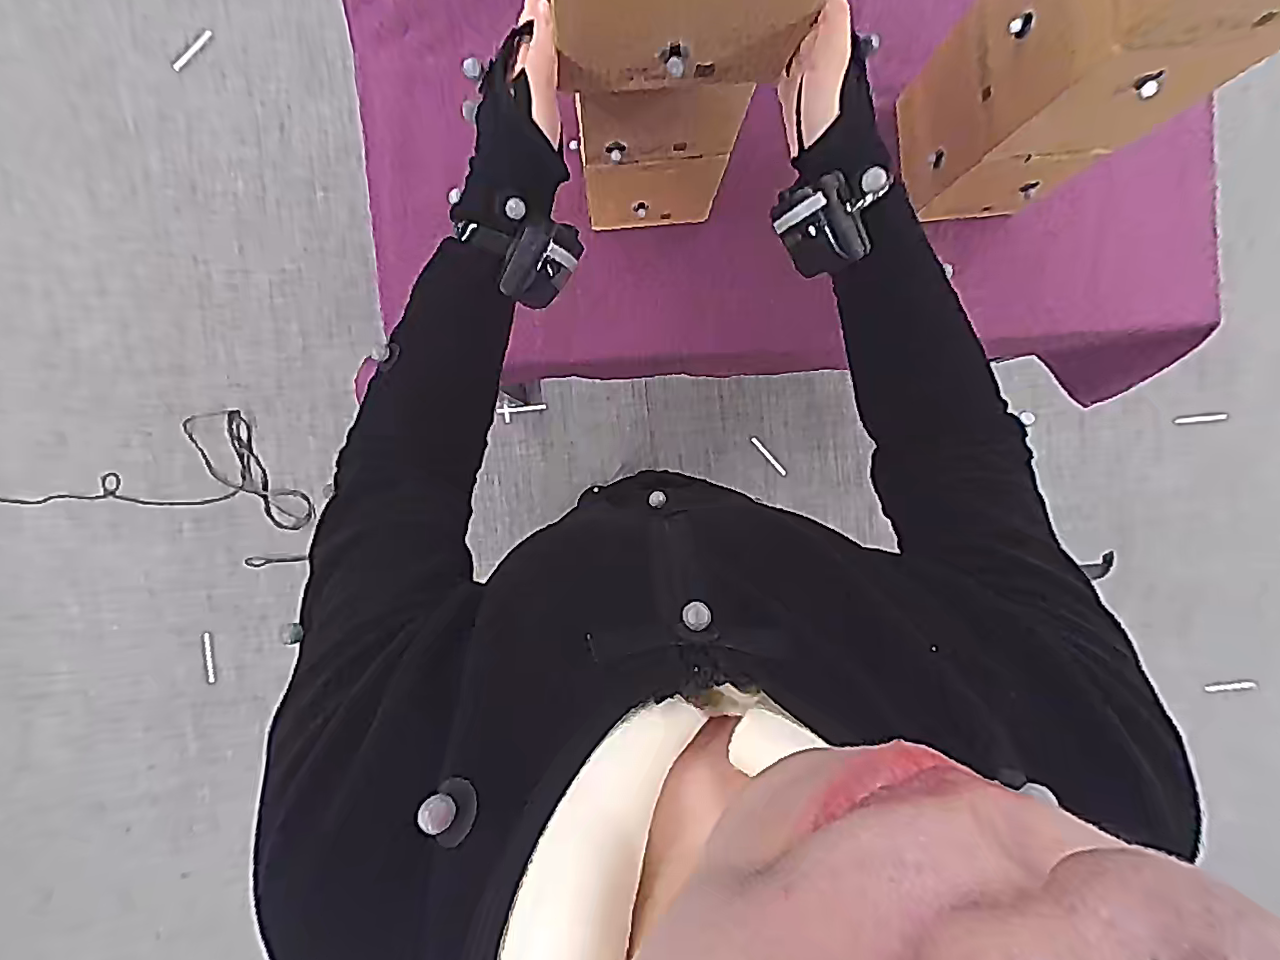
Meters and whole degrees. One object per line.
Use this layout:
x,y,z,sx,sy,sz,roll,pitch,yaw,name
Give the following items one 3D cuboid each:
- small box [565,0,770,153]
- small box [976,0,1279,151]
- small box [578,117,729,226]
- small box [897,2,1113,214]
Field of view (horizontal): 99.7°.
0.014,-0.441,0.515,0.168,0.176,0.179,-8,92,-3,small box
0.463,-0.454,0.535,0.179,0.176,0.168,-6,93,-3,small box
0.007,-0.447,0.680,0.168,0.176,0.179,-6,93,-3,small box
0.455,-0.464,0.698,0.168,0.176,0.179,-5,92,-3,small box
